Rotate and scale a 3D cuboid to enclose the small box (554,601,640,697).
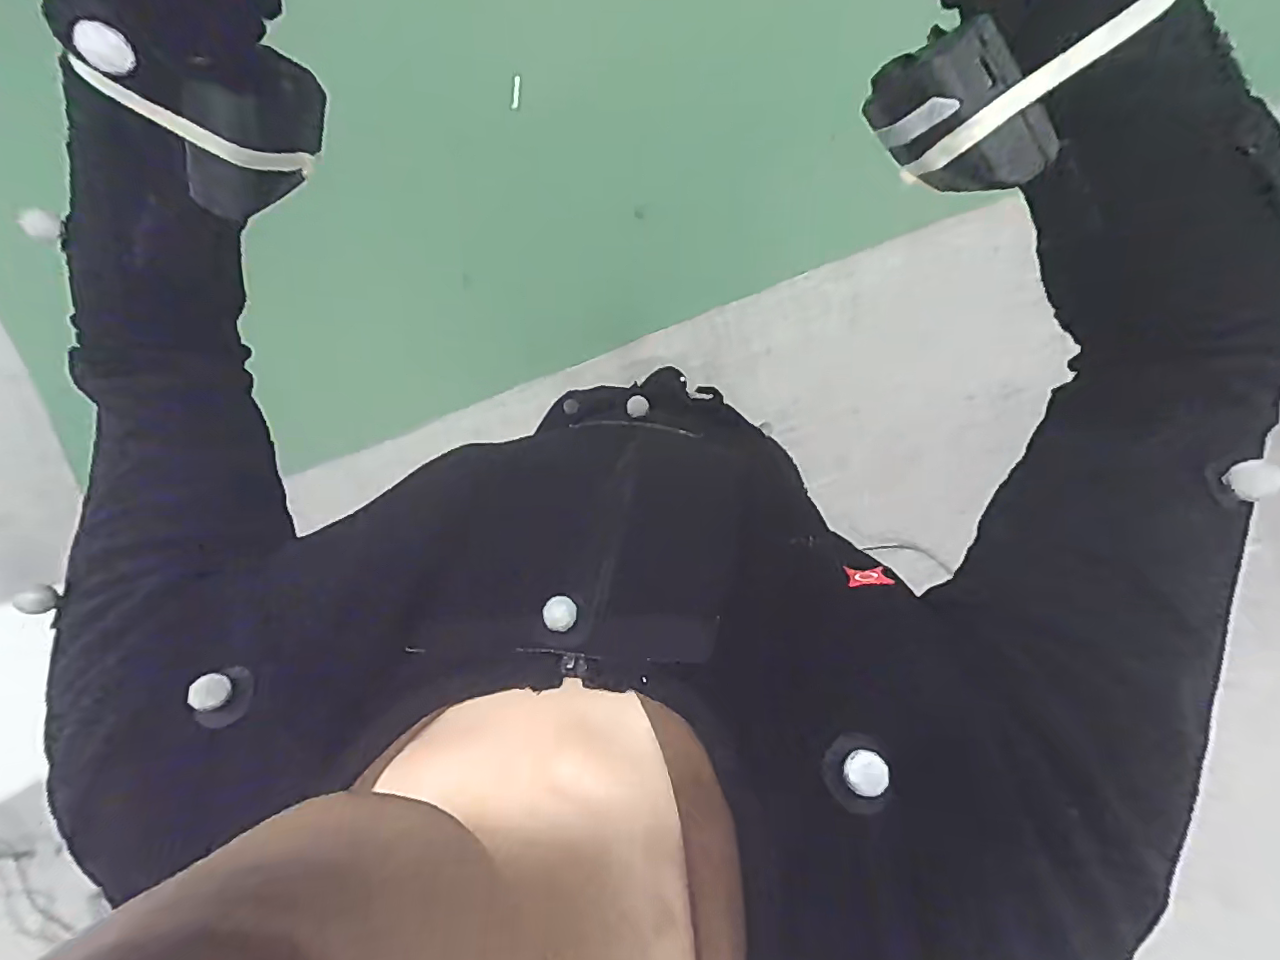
[{"bbox_3d":[-0.108,0.457,1.489,0.179,0.176,0.168,-23,94,10],"label":"small box"}]
